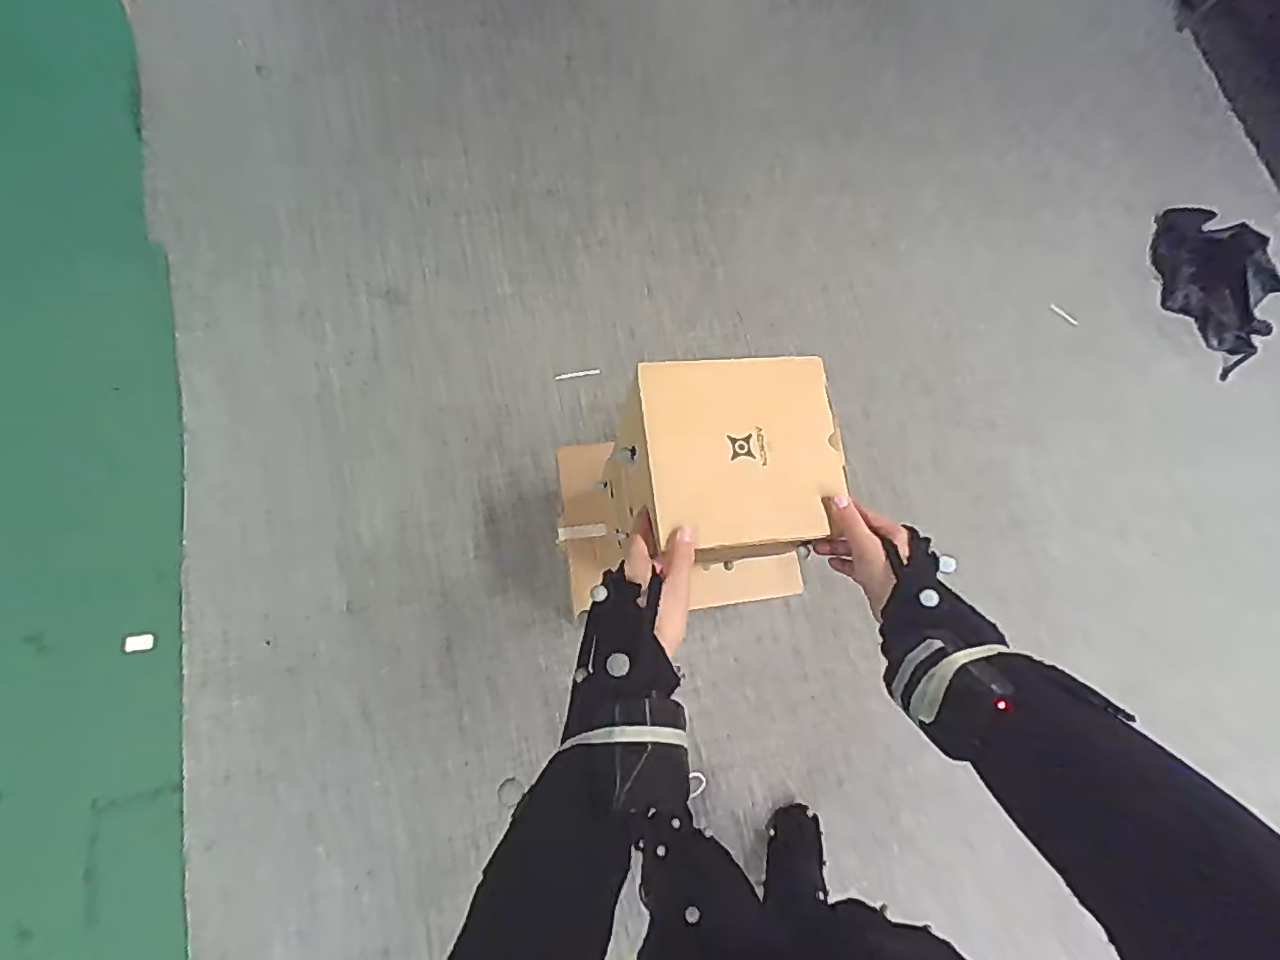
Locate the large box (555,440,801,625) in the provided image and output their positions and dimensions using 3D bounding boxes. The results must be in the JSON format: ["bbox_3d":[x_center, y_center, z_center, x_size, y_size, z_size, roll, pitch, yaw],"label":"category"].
[{"bbox_3d":[0.047,0.105,1.094,0.408,0.320,0.320,-6,77,-11],"label":"large box"}]

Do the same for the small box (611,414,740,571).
[{"bbox_3d":[0.060,0.019,0.695,0.168,0.176,0.179,-6,75,-11],"label":"small box"}]

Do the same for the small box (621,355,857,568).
[{"bbox_3d":[0.078,-0.009,0.535,0.179,0.176,0.168,-5,77,-11],"label":"small box"}]
